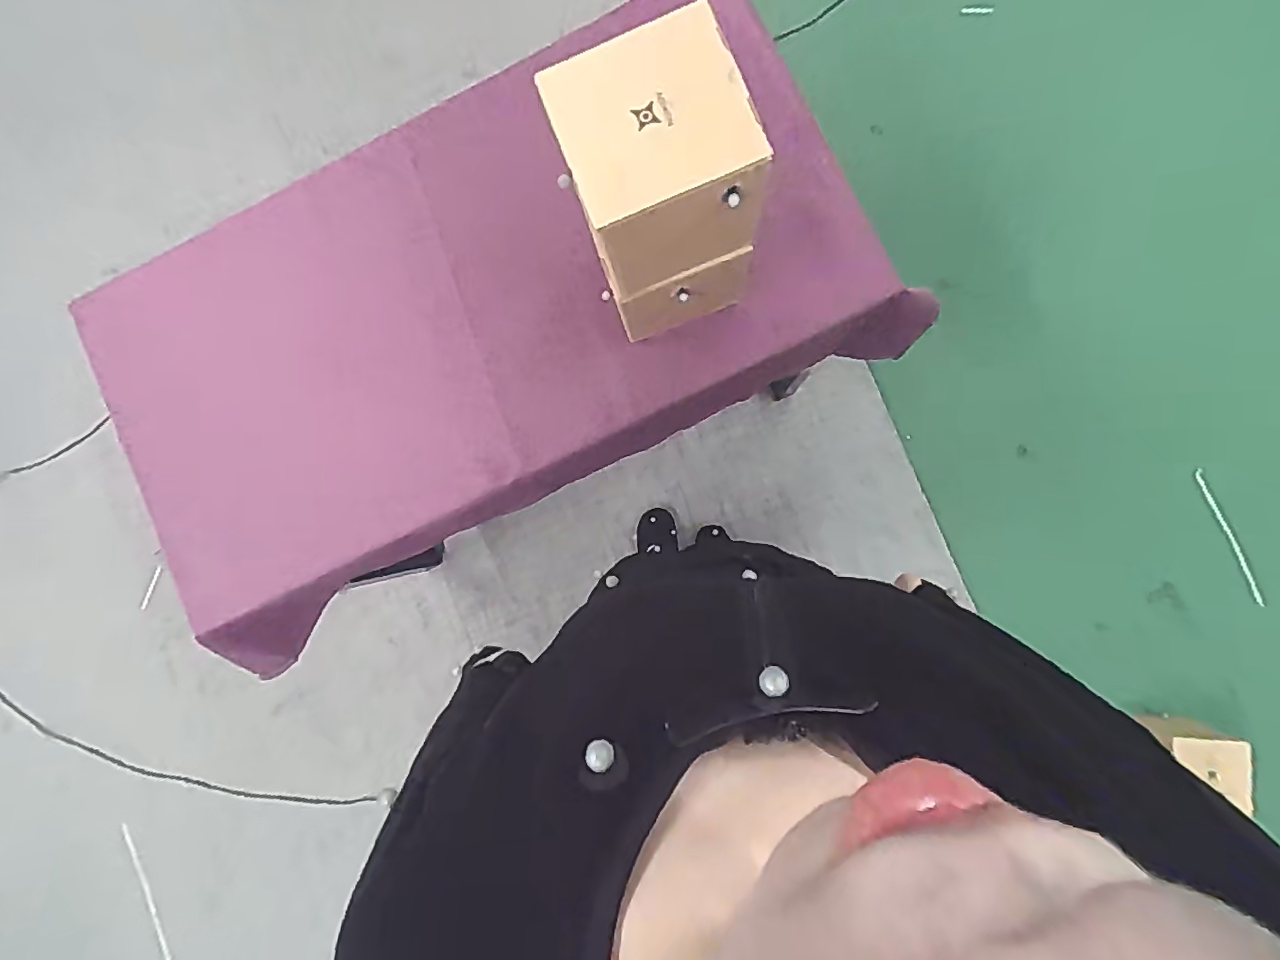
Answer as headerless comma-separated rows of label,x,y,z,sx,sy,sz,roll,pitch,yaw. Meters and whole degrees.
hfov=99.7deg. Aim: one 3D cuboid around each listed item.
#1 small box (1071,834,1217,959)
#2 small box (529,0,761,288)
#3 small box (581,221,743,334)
small box,1.192,1.002,1.295,0.168,0.176,0.179,23,90,5
small box,0.009,-0.333,0.574,0.179,0.176,0.168,-22,86,3
small box,0.026,-0.320,0.735,0.179,0.176,0.168,-19,86,4
